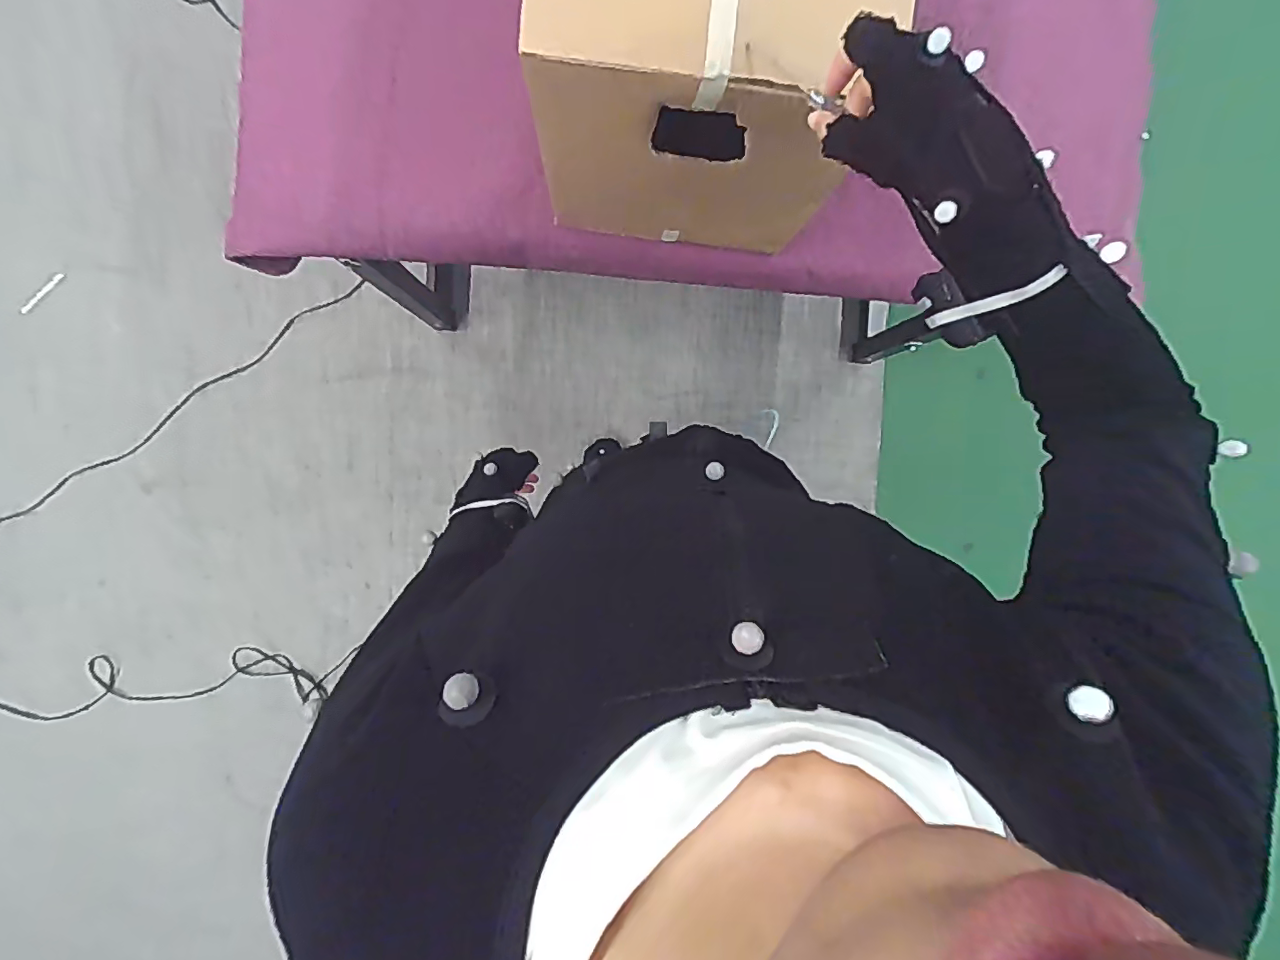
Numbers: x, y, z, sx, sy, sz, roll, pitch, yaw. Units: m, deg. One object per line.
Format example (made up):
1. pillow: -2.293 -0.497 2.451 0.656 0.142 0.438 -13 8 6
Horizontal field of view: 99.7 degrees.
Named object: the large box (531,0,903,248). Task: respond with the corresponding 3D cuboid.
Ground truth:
1. large box: 0.069 -0.527 0.589 0.320 0.320 0.408 6 93 -4
